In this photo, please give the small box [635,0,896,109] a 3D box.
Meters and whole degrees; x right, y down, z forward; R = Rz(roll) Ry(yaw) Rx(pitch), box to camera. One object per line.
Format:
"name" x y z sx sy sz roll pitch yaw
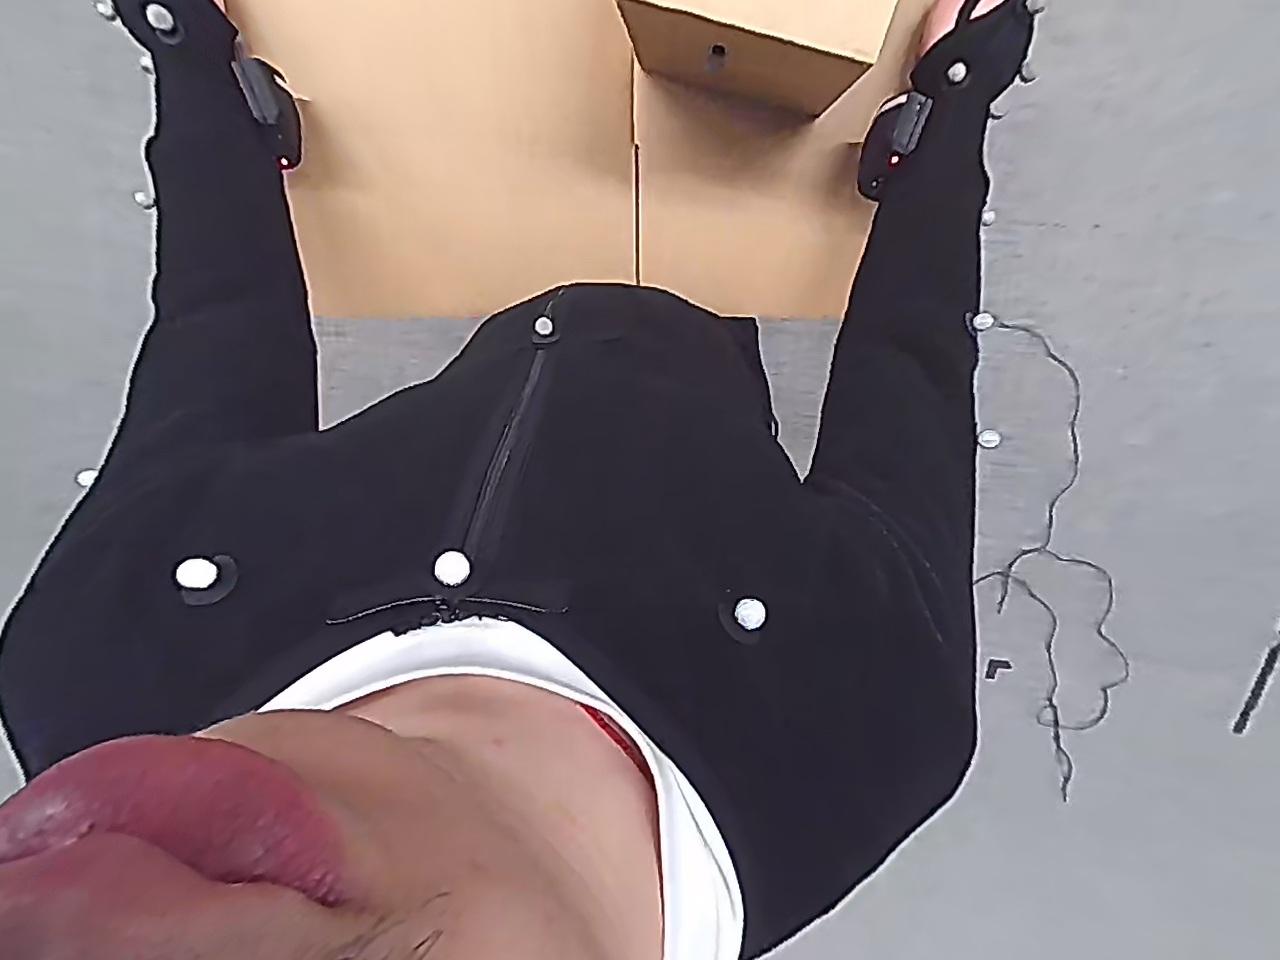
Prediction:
"small box" 0.098 -0.396 0.391 0.179 0.176 0.168 15 115 0
